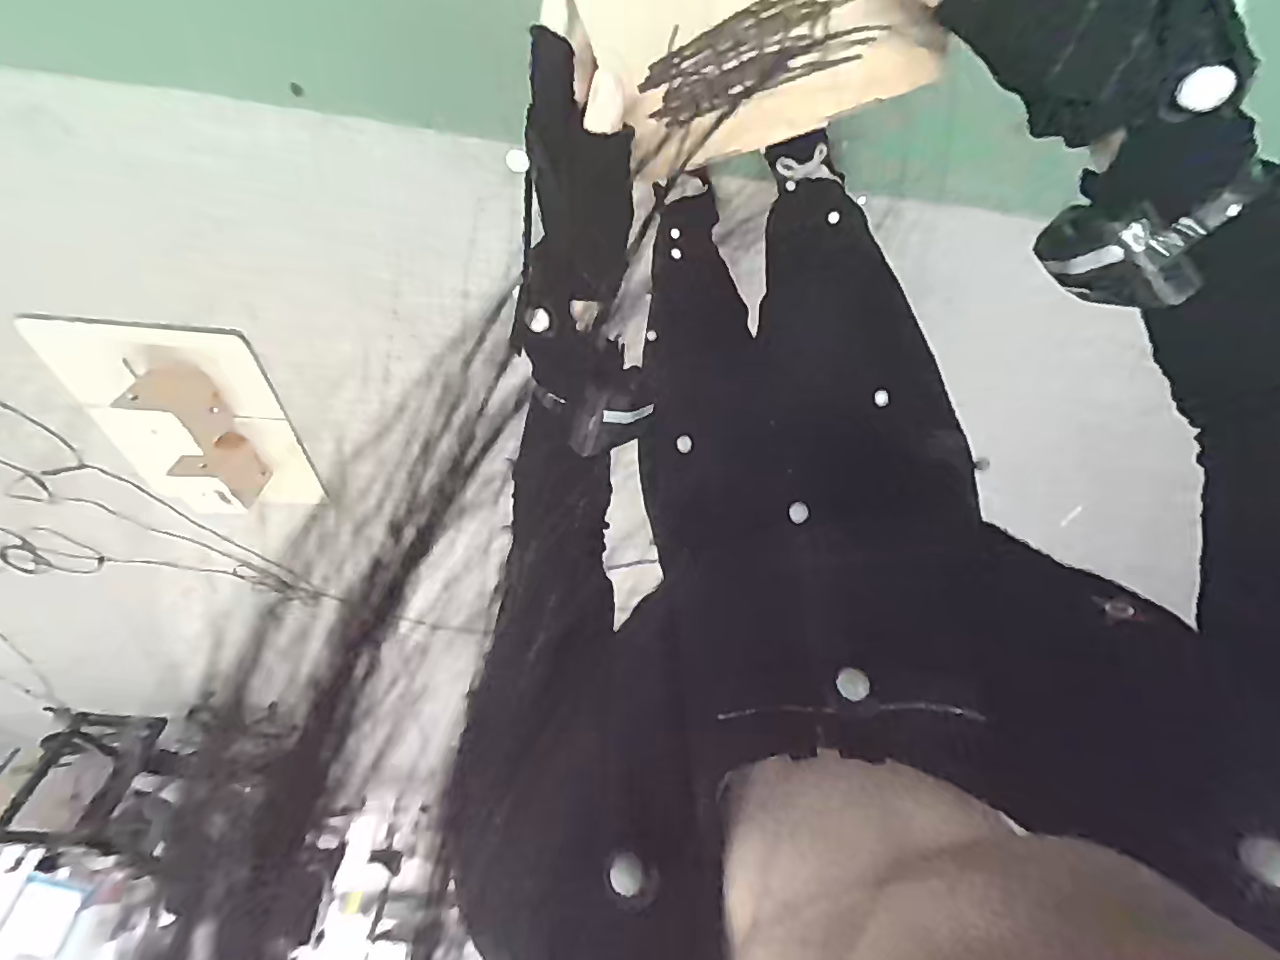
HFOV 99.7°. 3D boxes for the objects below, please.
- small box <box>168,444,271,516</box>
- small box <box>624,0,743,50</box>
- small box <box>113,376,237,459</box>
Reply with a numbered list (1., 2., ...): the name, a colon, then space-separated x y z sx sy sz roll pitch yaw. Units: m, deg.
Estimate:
1. small box: -1.321 -0.003 1.722 0.179 0.176 0.168 1 136 3
2. small box: 0.081 -0.812 0.849 0.179 0.176 0.168 11 135 -8
3. small box: -1.314 -0.181 1.545 0.179 0.176 0.168 4 137 -1
